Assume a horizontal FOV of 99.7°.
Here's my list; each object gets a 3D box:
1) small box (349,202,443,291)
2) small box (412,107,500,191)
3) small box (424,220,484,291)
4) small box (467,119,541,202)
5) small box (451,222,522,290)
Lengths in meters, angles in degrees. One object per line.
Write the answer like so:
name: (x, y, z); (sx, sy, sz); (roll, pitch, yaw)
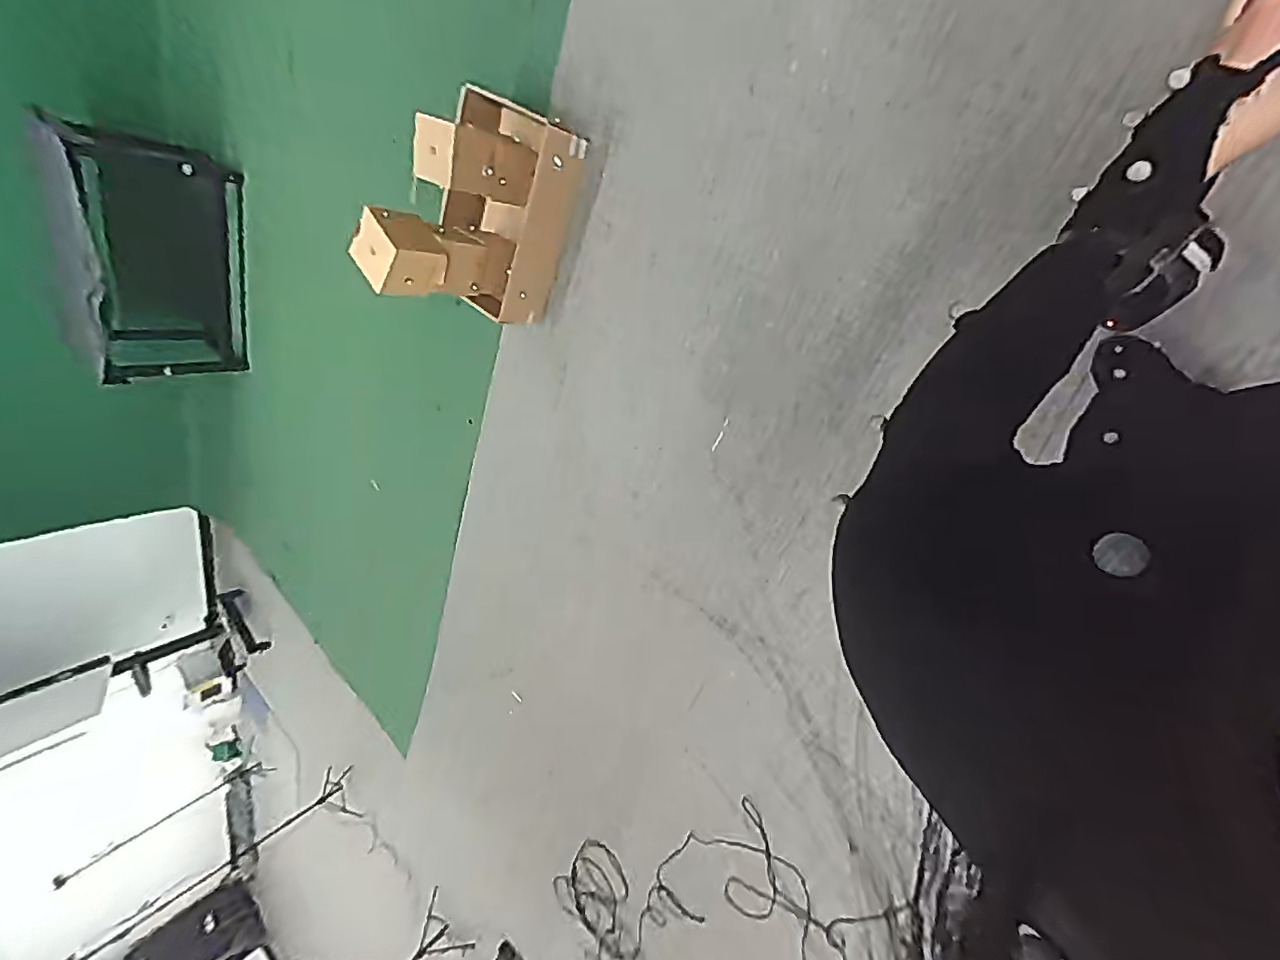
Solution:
small box: (-0.711, -0.676, 1.586); (0.168, 0.176, 0.179); (-43, 76, 35)
small box: (-0.542, -0.967, 1.591); (0.179, 0.176, 0.168); (30, 121, 23)
small box: (-0.625, -0.714, 1.719); (0.179, 0.176, 0.168); (36, 120, 23)
small box: (-0.450, -1.008, 1.720); (0.179, 0.176, 0.168); (40, 124, 20)
small box: (-0.537, -0.761, 1.850); (0.179, 0.176, 0.168); (34, 121, 23)
